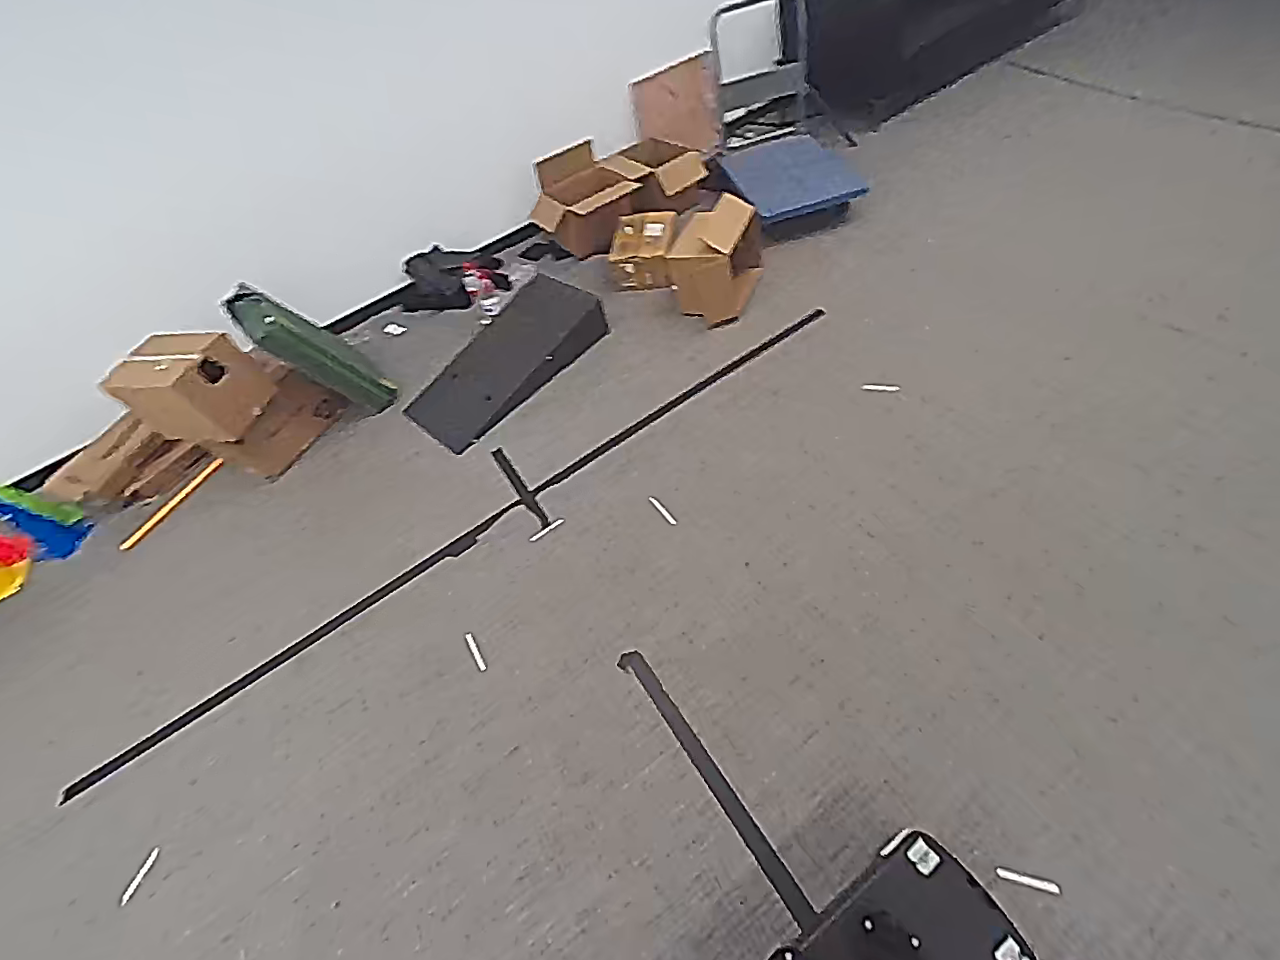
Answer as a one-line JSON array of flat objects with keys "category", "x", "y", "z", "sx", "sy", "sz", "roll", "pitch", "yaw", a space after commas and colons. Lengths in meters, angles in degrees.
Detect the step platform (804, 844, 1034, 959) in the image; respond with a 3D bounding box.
[{"category": "step platform", "x": 0.436, "y": 1.061, "z": 1.049, "sx": 0.684, "sy": 0.204, "sz": 0.286, "roll": -34, "pitch": 53, "yaw": -15}]
